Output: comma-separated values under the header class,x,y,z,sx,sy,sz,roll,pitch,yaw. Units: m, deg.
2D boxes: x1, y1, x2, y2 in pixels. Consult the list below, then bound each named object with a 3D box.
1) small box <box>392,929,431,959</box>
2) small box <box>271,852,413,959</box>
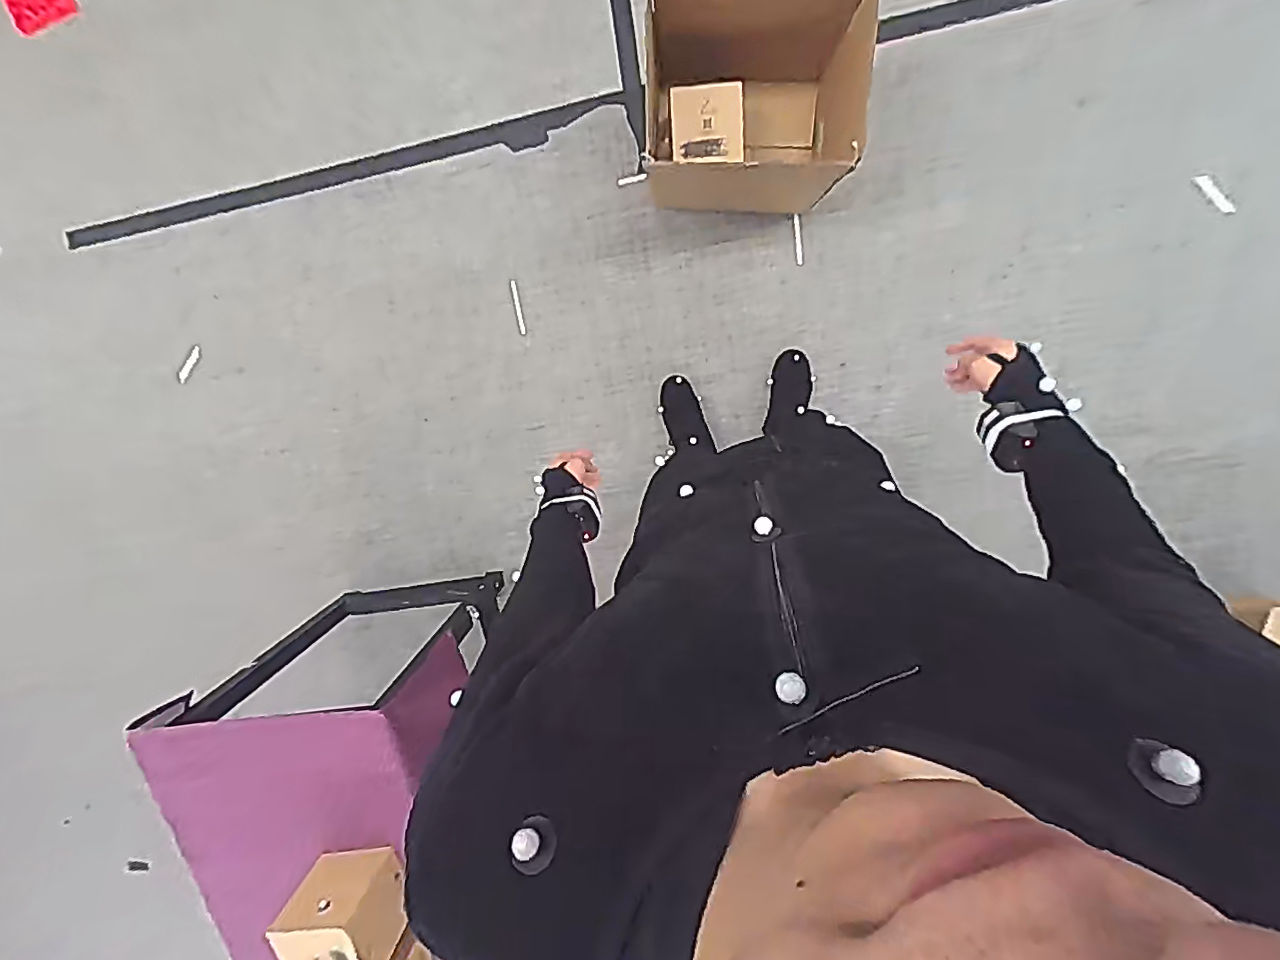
class,x,y,z,sx,sy,sz,roll,pitch,yaw
small box,-0.565,1.118,1.173,0.179,0.176,0.168,-5,104,7
small box,-0.598,0.907,1.118,0.179,0.176,0.168,-12,104,10
